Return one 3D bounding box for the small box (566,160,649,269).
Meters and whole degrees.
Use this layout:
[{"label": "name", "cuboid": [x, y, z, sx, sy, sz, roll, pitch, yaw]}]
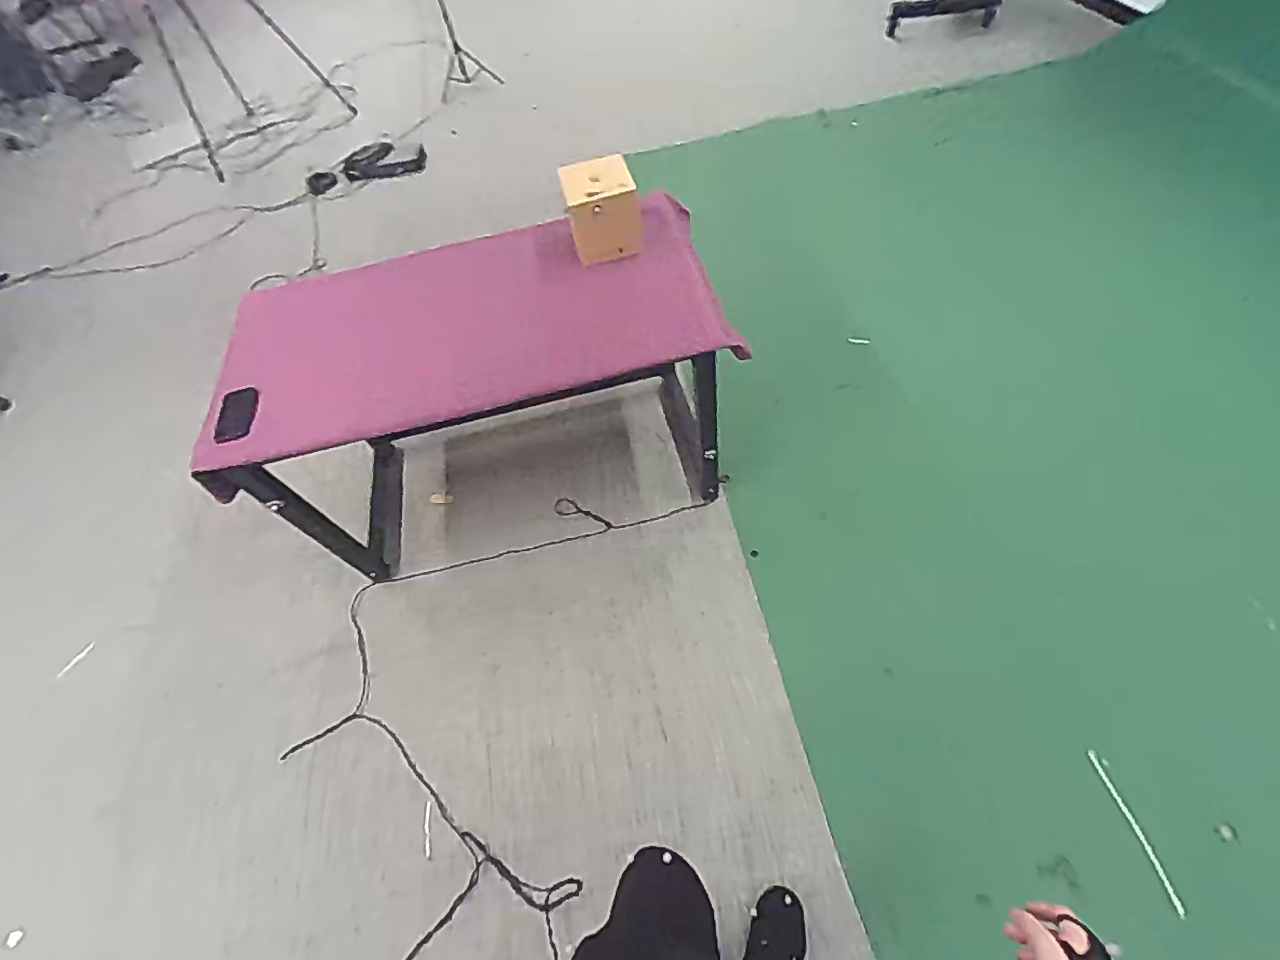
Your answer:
[{"label": "small box", "cuboid": [-0.081, -0.671, 1.372, 0.168, 0.176, 0.179, -15, 56, -1]}]
